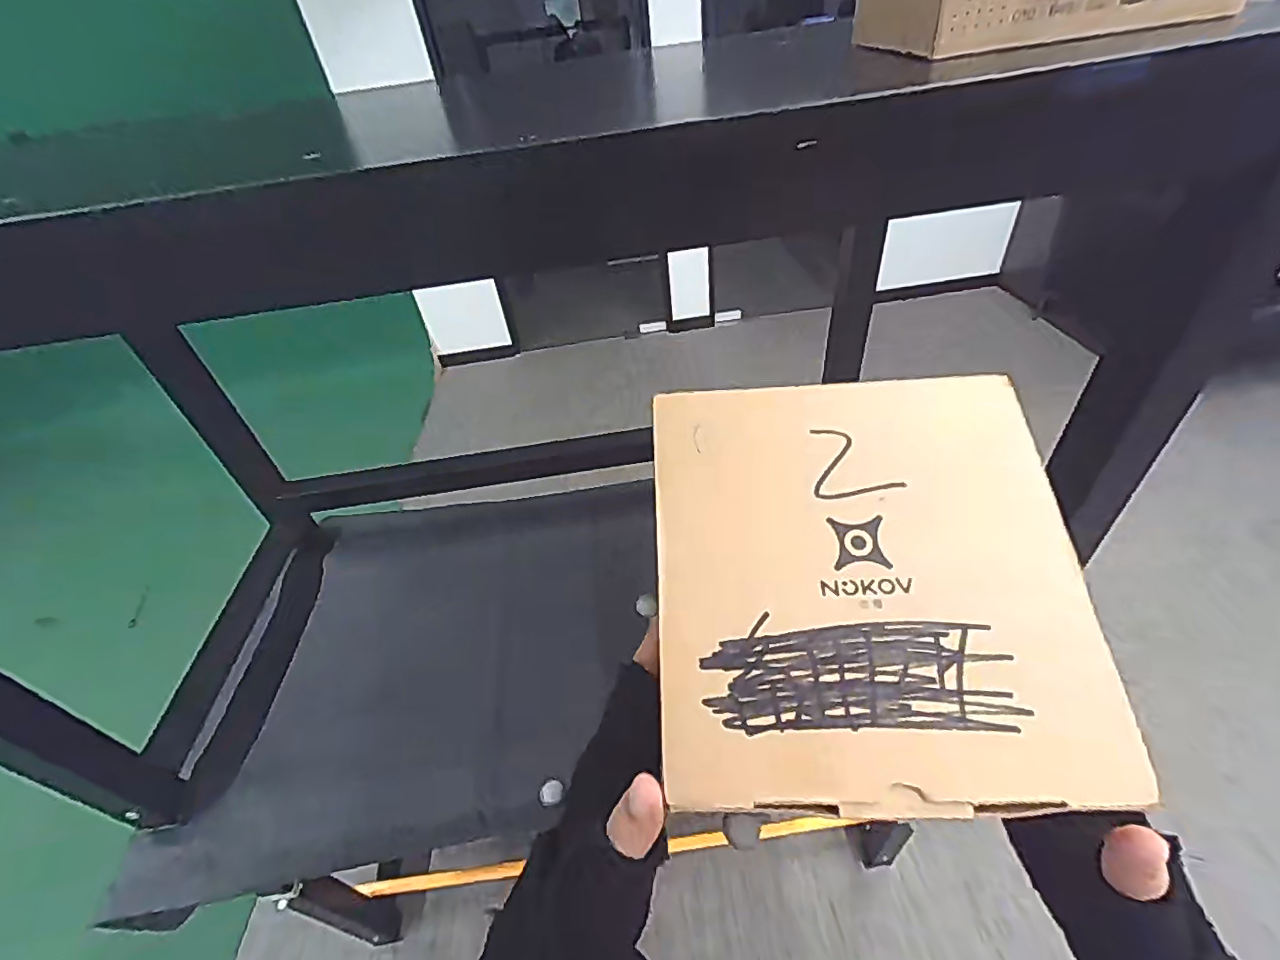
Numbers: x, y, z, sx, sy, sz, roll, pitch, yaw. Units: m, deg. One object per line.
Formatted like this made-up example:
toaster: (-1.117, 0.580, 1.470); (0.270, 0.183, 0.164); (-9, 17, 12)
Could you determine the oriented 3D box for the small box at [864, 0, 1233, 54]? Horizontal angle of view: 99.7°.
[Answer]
small box: (0.247, -0.370, 0.322); (0.168, 0.176, 0.179); (-4, 41, 6)
